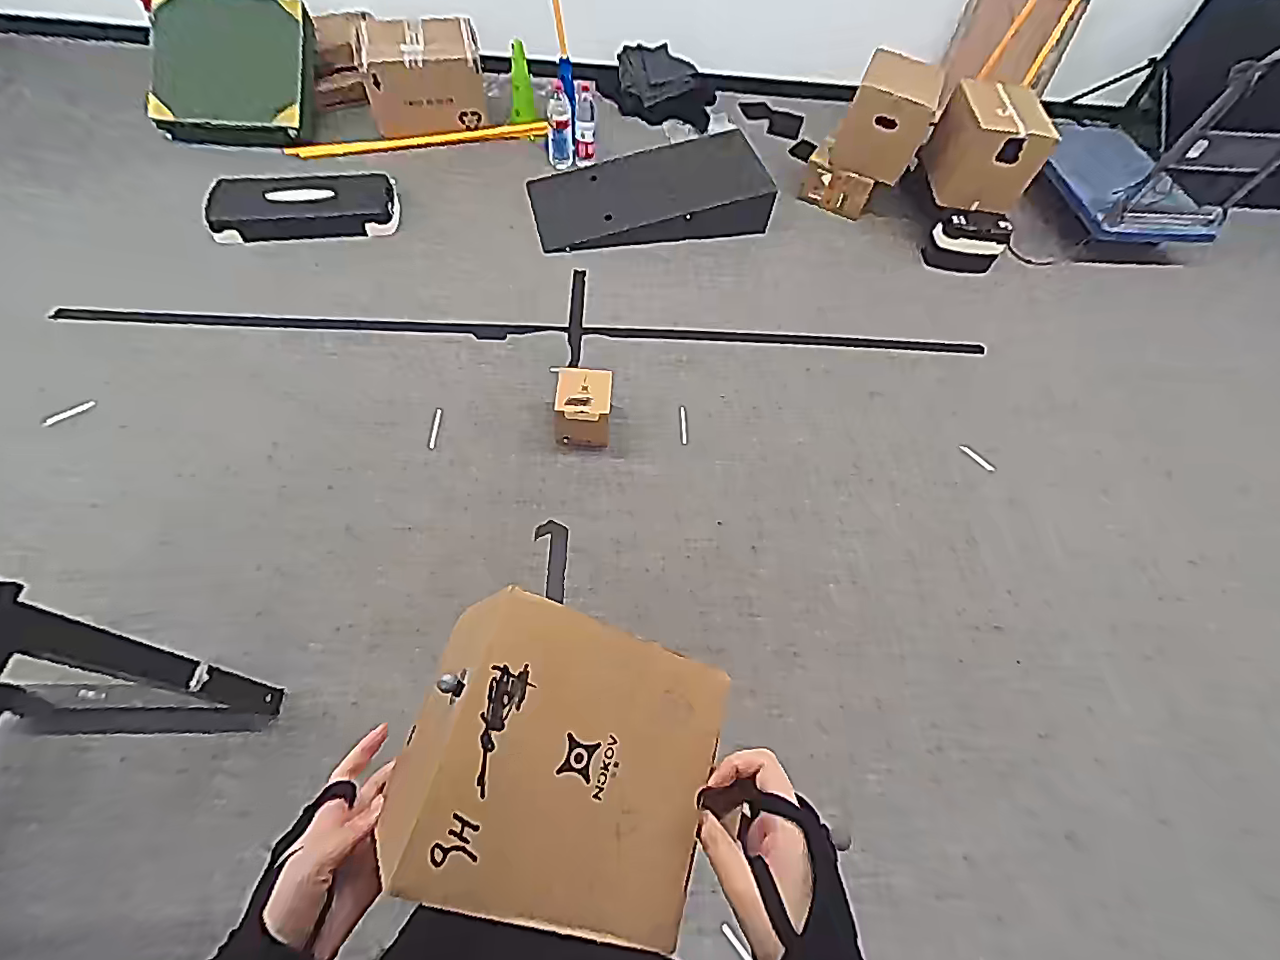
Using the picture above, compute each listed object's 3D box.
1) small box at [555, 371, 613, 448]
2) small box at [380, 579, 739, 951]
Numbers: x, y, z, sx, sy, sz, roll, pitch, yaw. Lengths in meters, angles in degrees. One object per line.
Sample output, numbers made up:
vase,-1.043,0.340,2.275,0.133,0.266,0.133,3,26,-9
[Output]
small box,-0.174,-0.217,1.704,0.168,0.176,0.179,4,58,-4
small box,-0.062,0.190,0.390,0.179,0.176,0.168,29,60,-17
